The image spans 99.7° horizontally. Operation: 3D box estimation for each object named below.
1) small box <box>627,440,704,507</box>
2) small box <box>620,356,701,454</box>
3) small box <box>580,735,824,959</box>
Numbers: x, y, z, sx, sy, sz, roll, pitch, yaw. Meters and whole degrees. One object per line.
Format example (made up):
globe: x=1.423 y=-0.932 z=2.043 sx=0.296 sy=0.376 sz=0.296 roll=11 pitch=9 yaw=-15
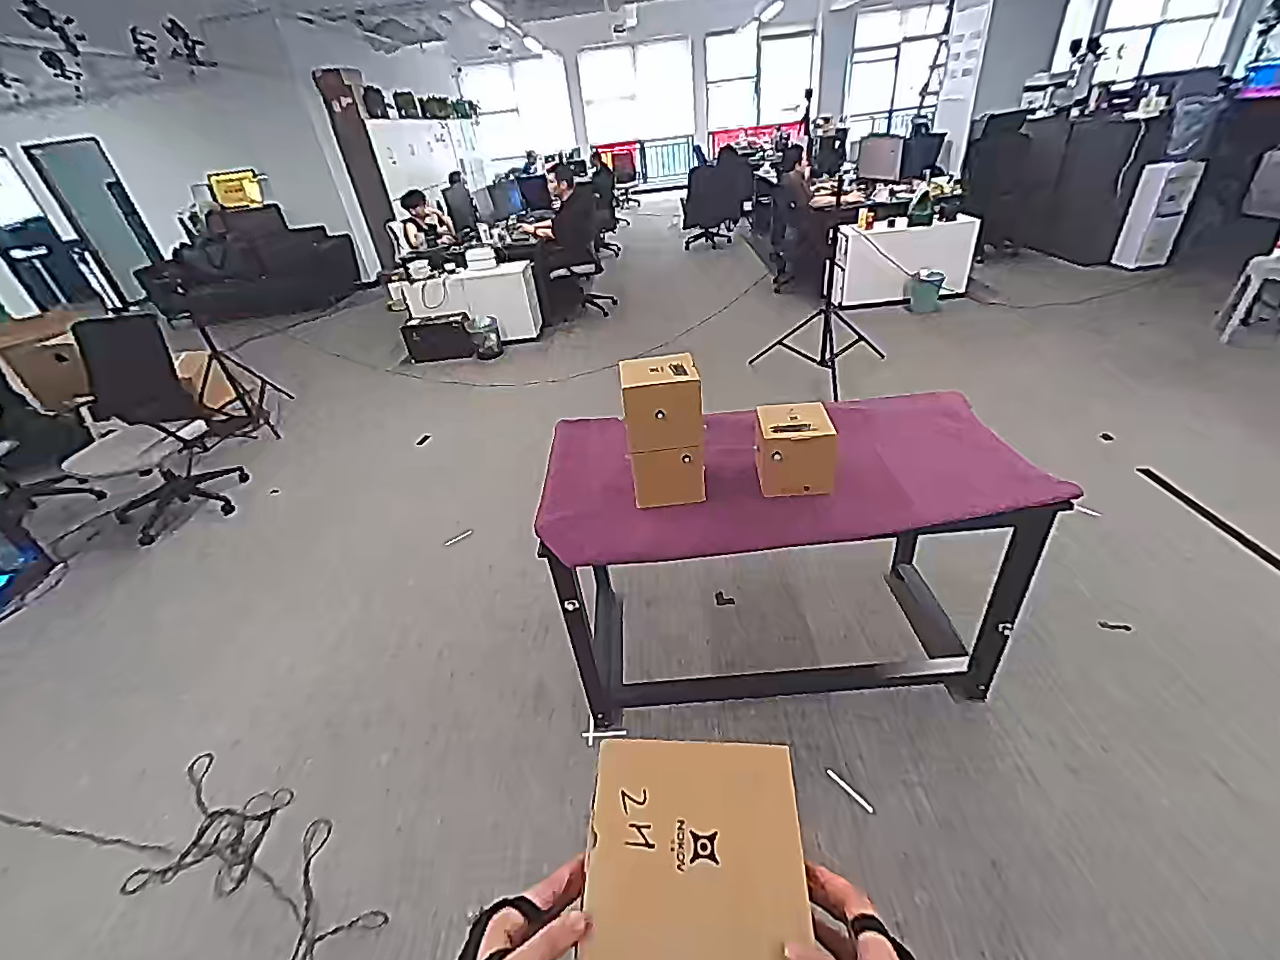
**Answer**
small box: x=0.063 y=-0.044 z=1.379 sx=0.179 sy=0.176 sz=0.168 roll=-7 pitch=33 yaw=0
small box: x=0.048 y=-0.178 z=1.285 sx=0.179 sy=0.176 sz=0.168 roll=-7 pitch=33 yaw=0
small box: x=0.054 y=0.354 z=0.492 sx=0.179 sy=0.176 sz=0.168 roll=-1 pitch=41 yaw=6
